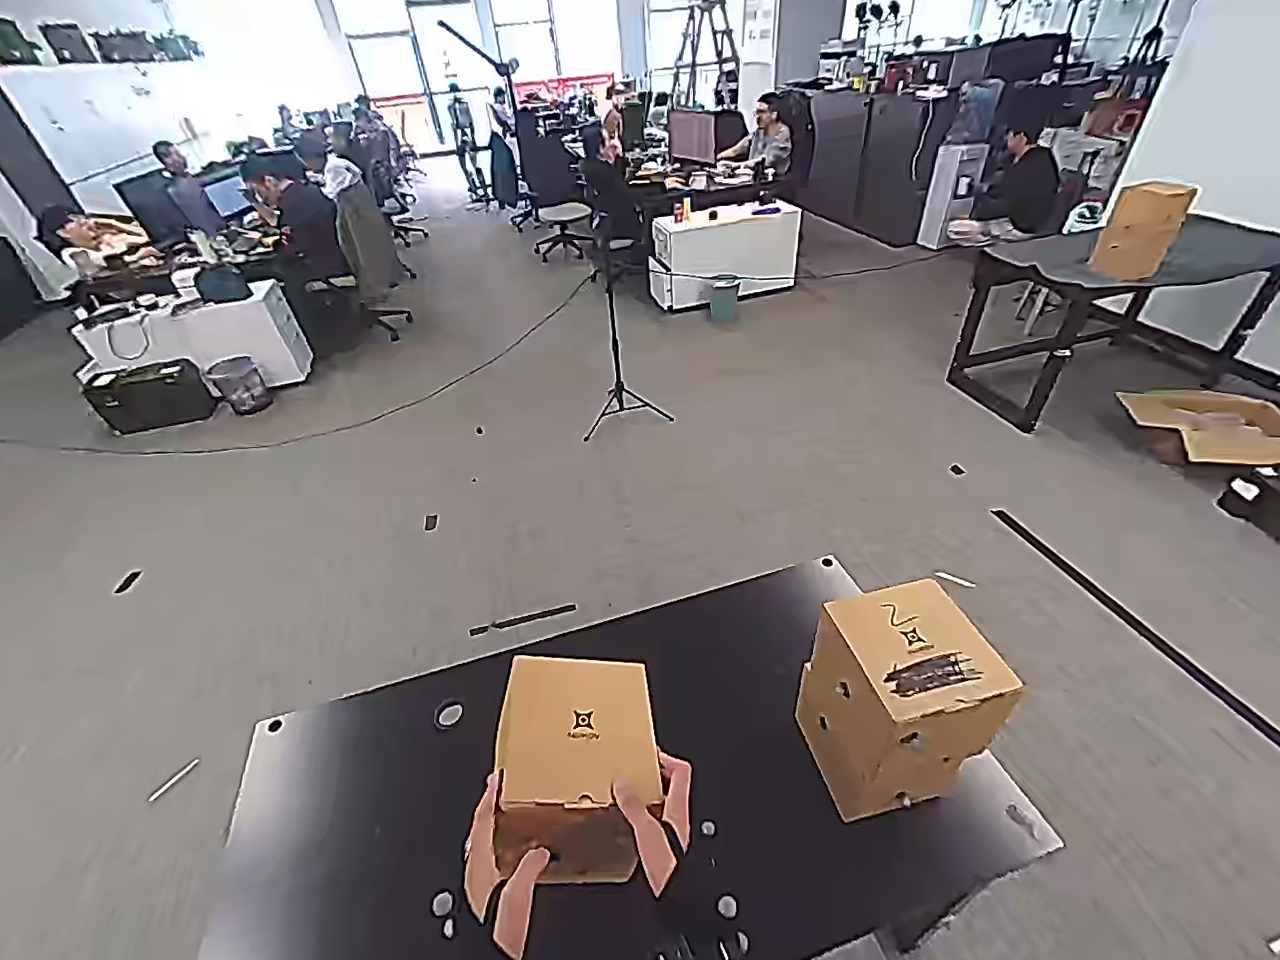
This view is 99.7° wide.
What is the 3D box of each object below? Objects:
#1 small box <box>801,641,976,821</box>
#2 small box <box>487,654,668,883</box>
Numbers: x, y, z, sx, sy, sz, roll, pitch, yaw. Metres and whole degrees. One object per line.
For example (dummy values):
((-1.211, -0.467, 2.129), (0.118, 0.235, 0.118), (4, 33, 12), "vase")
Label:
((0.362, 0.383, 0.830), (0.168, 0.176, 0.179), (-12, 39, -6), "small box")
((-0.080, 0.333, 0.631), (0.168, 0.176, 0.179), (9, 32, -14), "small box")
